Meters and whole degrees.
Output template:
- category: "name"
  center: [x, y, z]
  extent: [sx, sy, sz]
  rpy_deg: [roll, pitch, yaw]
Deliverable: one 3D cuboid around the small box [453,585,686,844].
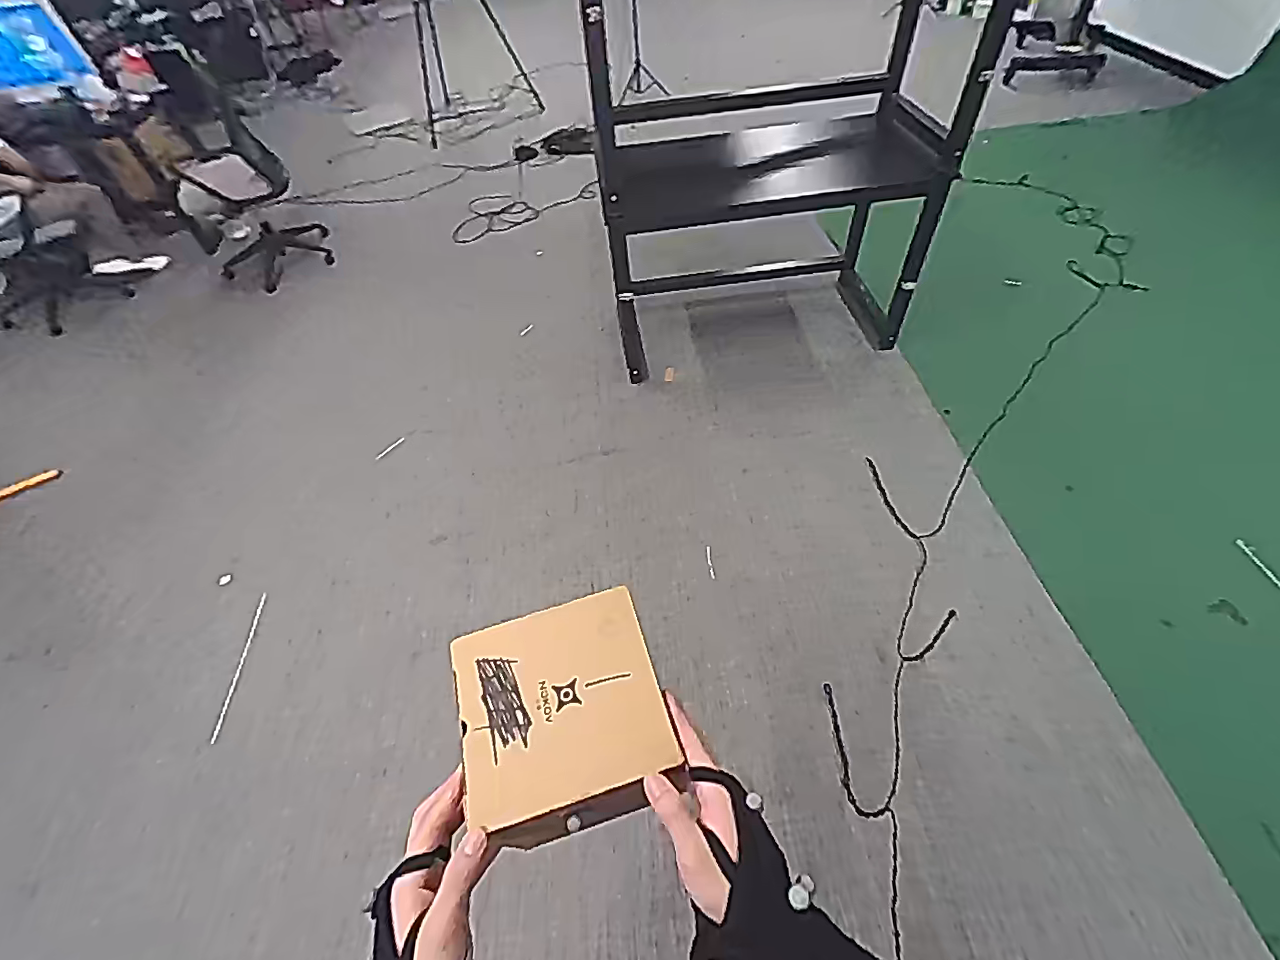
- category: "small box"
  center: [-0.062, 0.234, 0.529]
  extent: [0.179, 0.176, 0.168]
  rpy_deg: [-17, 53, -6]
